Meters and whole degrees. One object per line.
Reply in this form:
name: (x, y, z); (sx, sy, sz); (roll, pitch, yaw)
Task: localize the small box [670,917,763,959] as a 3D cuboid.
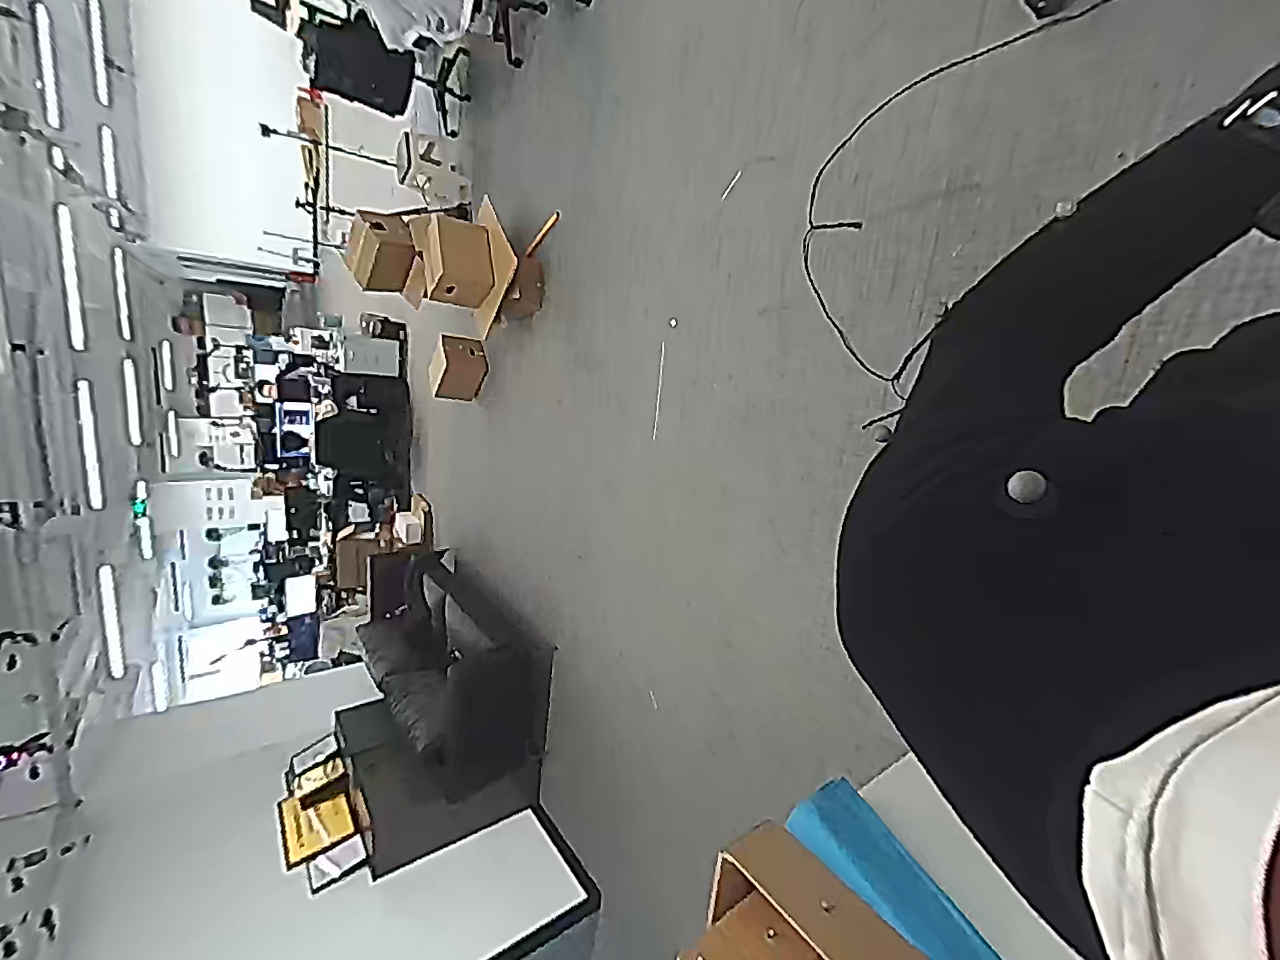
small box: (0.173, 1.093, 1.145); (0.179, 0.176, 0.168); (23, 112, 50)
